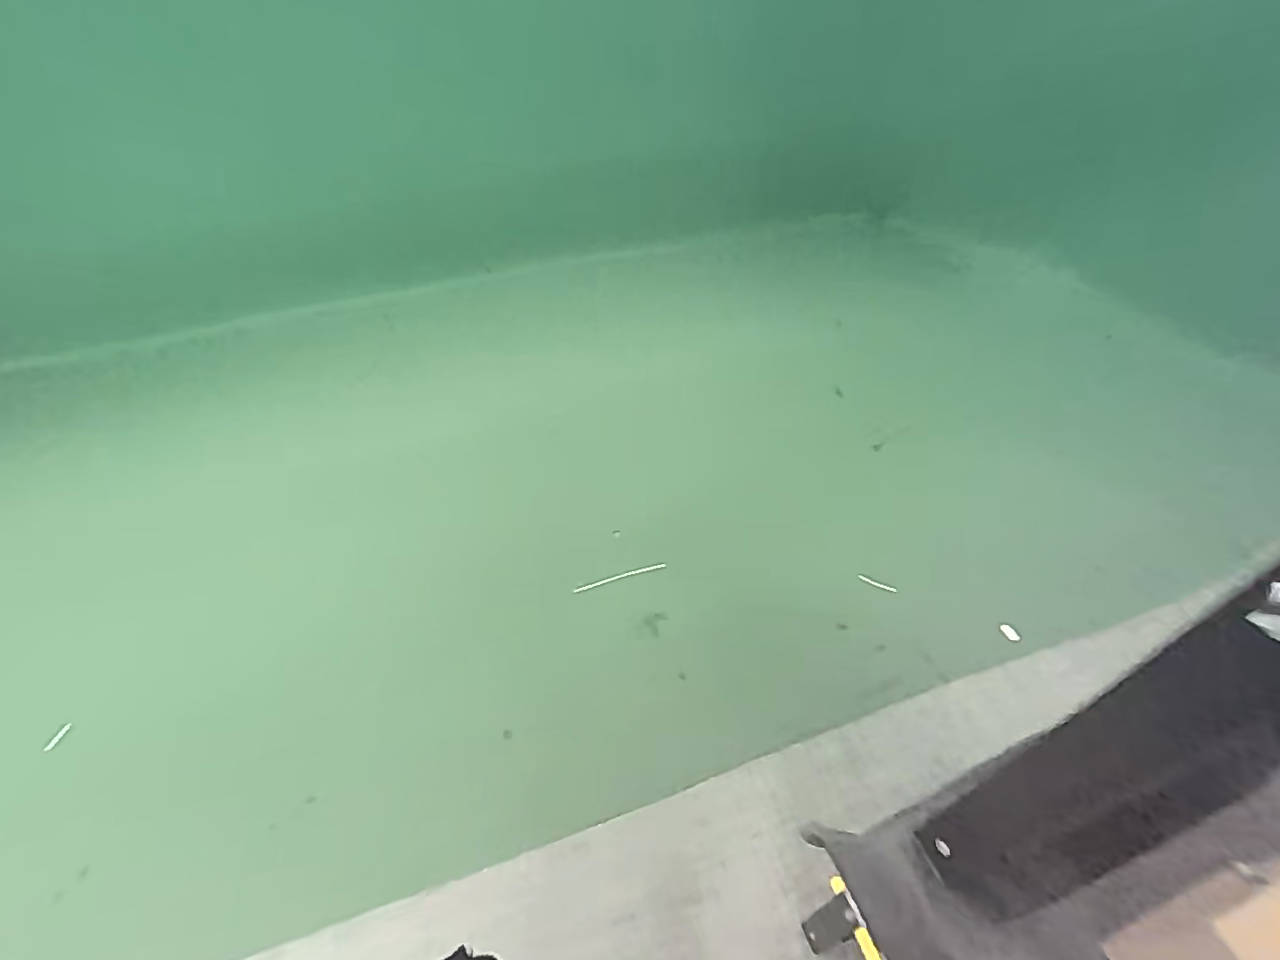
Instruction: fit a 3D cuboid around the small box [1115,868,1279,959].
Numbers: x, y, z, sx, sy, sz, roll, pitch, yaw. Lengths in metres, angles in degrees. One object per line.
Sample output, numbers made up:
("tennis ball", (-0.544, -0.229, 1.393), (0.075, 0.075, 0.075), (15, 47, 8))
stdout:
("small box", (0.577, 0.455, 0.462), (0.179, 0.176, 0.168), (-15, 46, -12))
